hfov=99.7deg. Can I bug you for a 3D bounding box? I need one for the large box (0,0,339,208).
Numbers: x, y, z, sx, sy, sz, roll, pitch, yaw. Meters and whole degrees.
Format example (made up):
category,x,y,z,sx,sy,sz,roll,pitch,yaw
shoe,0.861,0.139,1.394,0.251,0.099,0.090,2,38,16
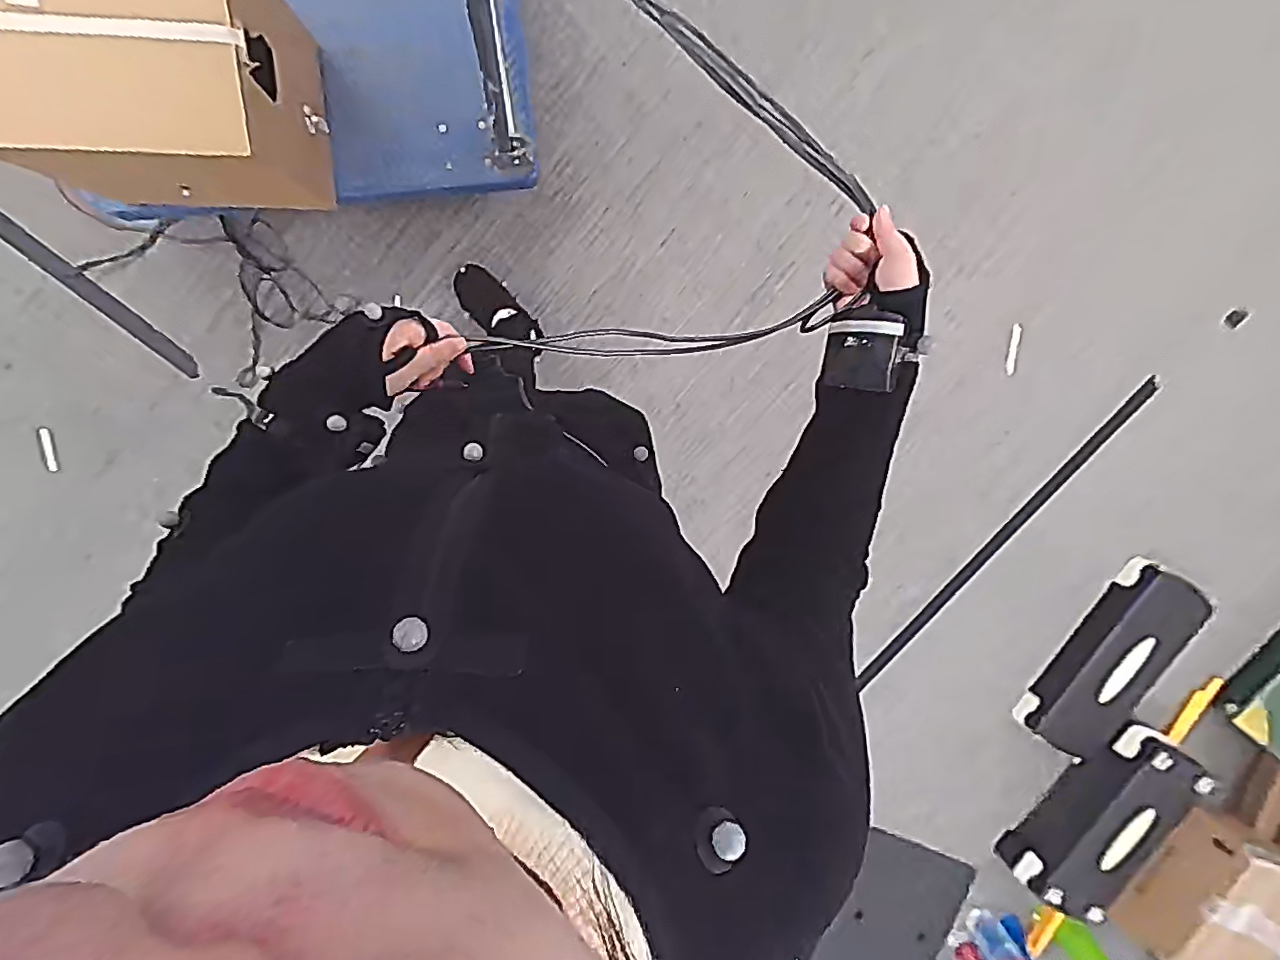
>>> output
category,x,y,z,sx,sy,sz,roll,pitch,yaw
large box,-0.796,-0.660,0.908,0.408,0.320,0.320,-2,102,-6
